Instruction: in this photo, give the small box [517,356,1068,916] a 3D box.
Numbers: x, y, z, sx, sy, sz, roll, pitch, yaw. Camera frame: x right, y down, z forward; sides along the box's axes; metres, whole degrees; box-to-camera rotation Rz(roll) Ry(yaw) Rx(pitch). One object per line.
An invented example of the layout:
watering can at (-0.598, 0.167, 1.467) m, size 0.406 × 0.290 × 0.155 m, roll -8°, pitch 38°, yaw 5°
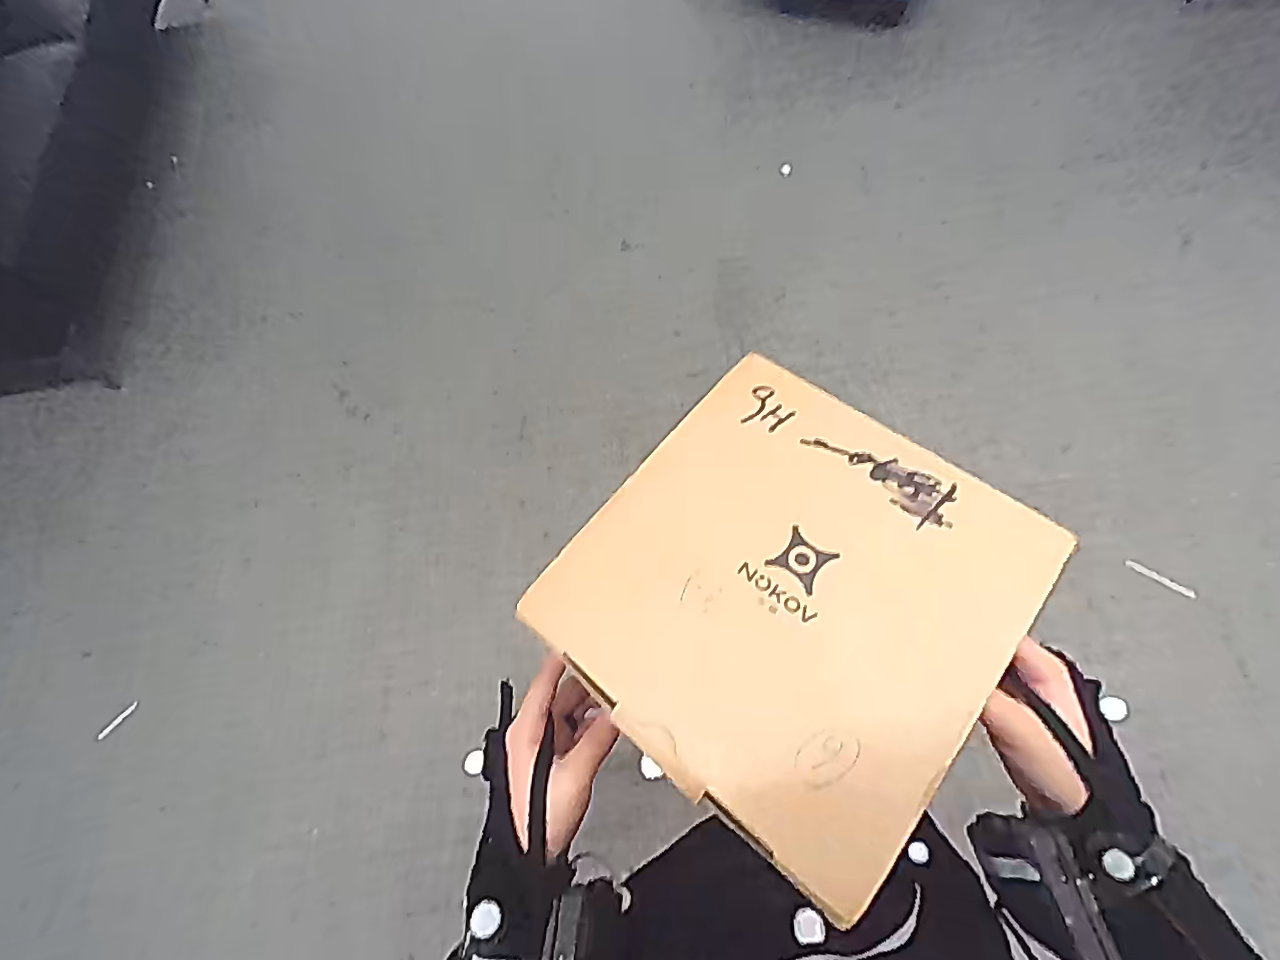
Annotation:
small box at (0.070, 0.075, 0.299) m, size 0.168 × 0.176 × 0.179 m, roll 37°, pitch 74°, yaw 22°
